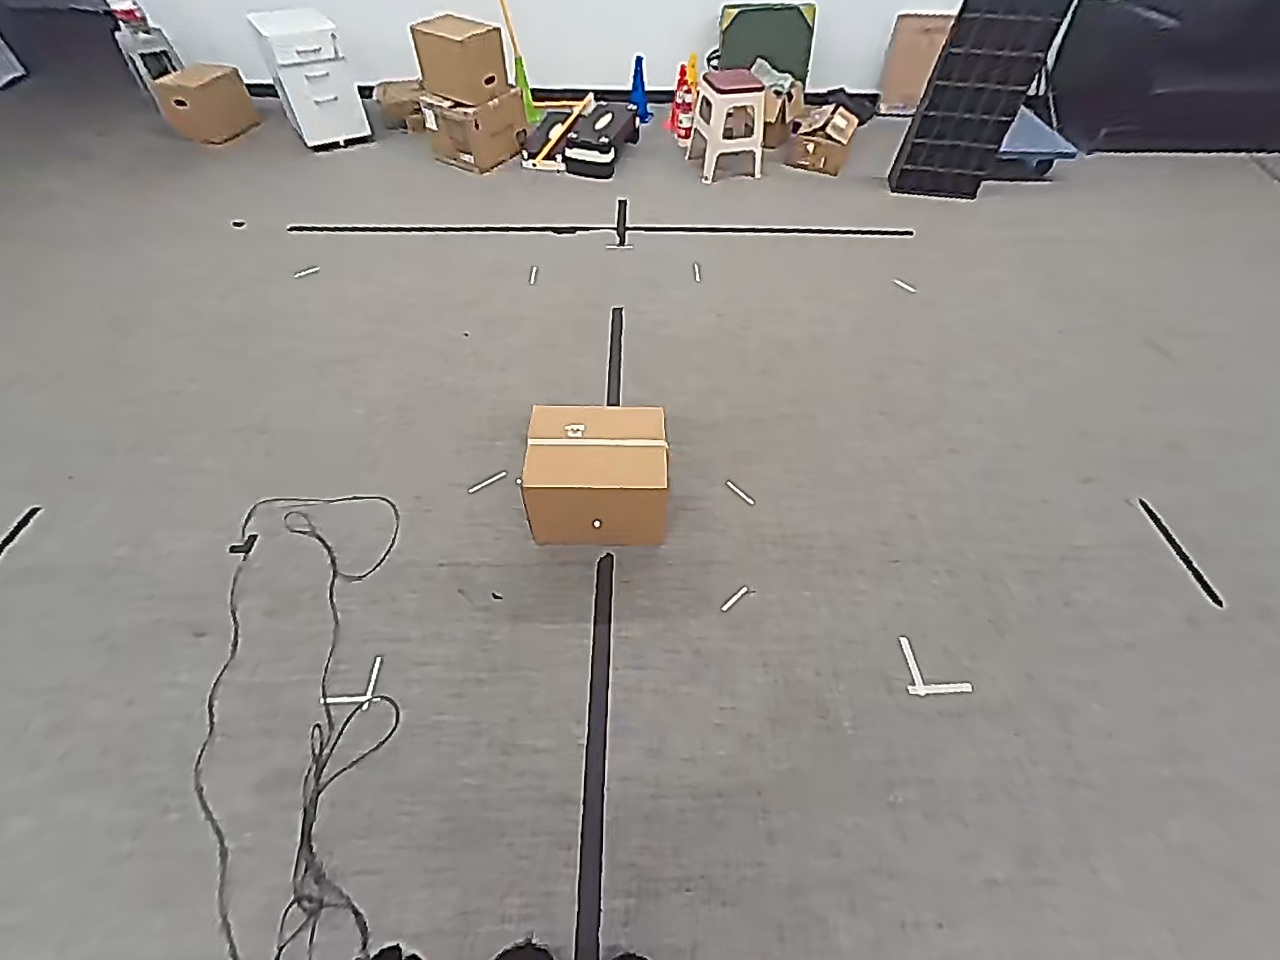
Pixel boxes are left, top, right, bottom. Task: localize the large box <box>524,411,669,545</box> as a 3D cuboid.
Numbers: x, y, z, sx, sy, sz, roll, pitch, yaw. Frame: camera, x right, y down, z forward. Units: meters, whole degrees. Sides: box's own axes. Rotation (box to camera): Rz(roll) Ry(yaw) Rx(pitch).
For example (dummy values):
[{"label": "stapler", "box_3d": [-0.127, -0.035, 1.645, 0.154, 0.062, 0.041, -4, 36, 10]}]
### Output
[{"label": "large box", "box_3d": [-0.122, -0.001, 1.693, 0.408, 0.320, 0.320, 0, 52, 0]}]
